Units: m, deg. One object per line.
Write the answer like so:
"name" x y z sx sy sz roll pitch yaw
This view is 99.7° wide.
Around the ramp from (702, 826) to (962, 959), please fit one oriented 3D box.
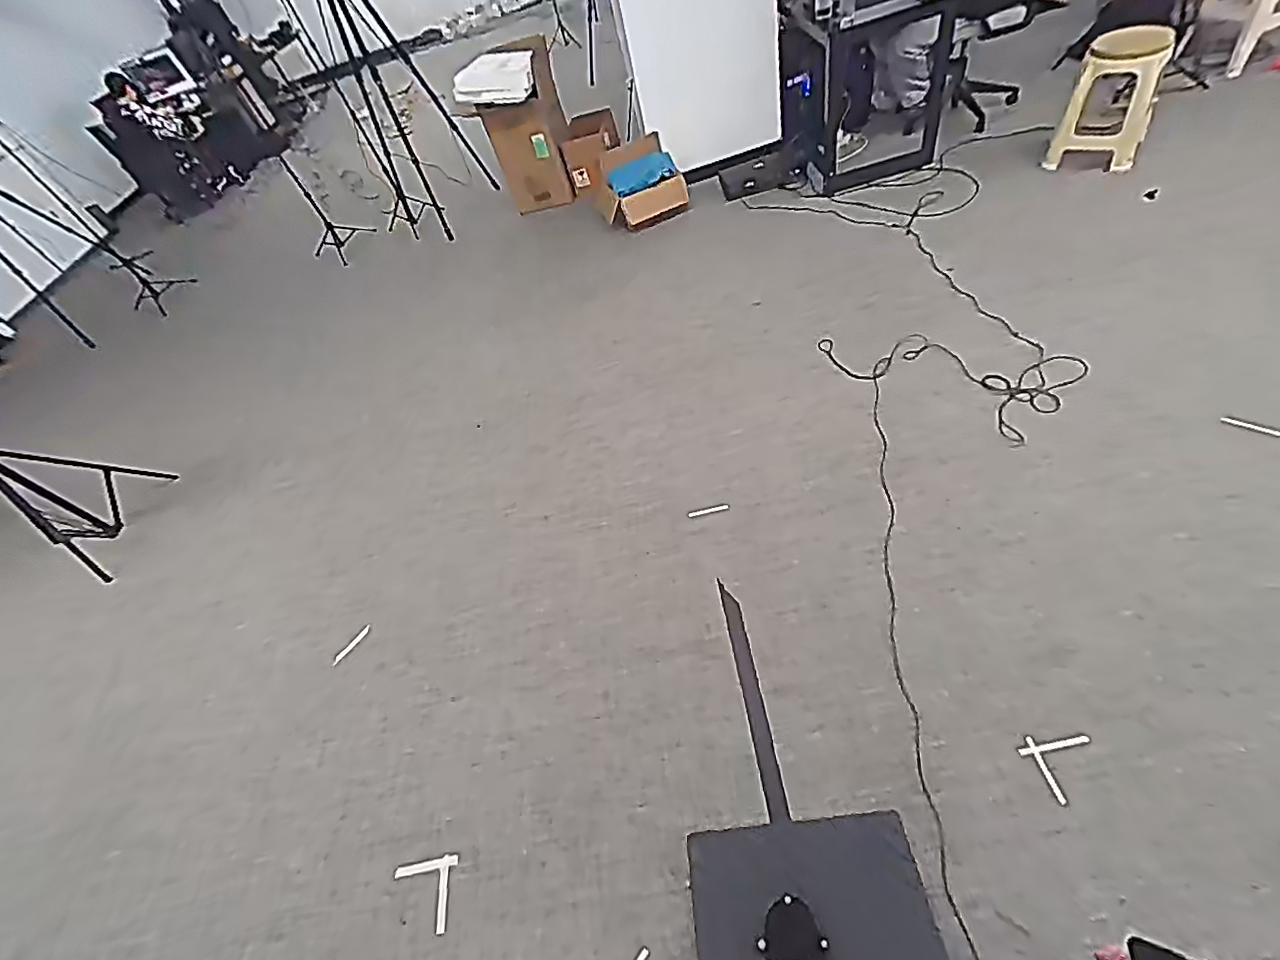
"ramp" 0.397 1.146 0.862 0.509 0.206 0.991 -16 47 7
